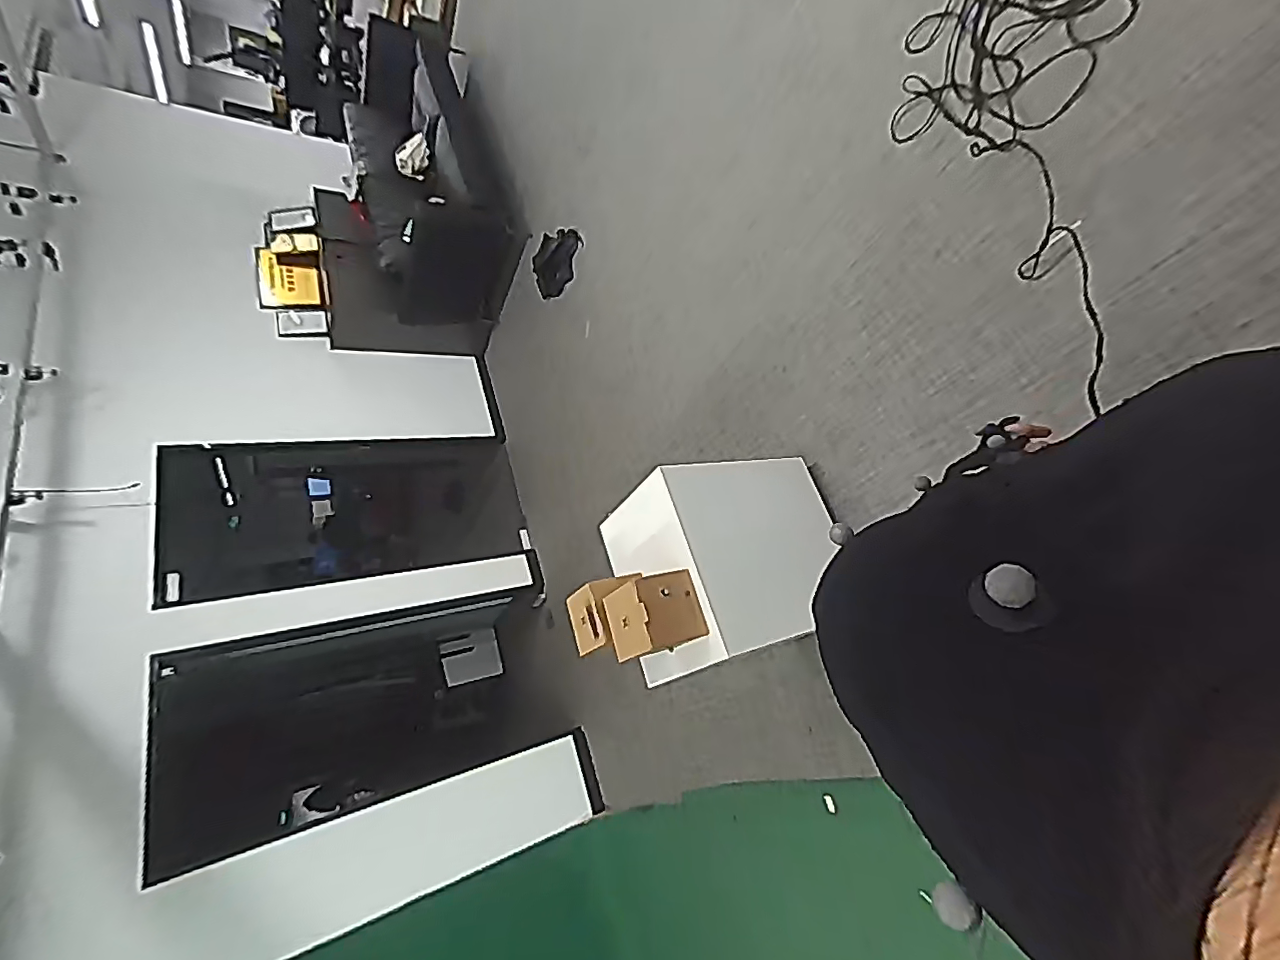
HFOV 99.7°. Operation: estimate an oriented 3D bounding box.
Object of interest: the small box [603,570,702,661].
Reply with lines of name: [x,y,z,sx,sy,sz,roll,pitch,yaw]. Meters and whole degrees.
small box: [0.035,0.331,1.327,0.179,0.176,0.168,-46,55,51]
